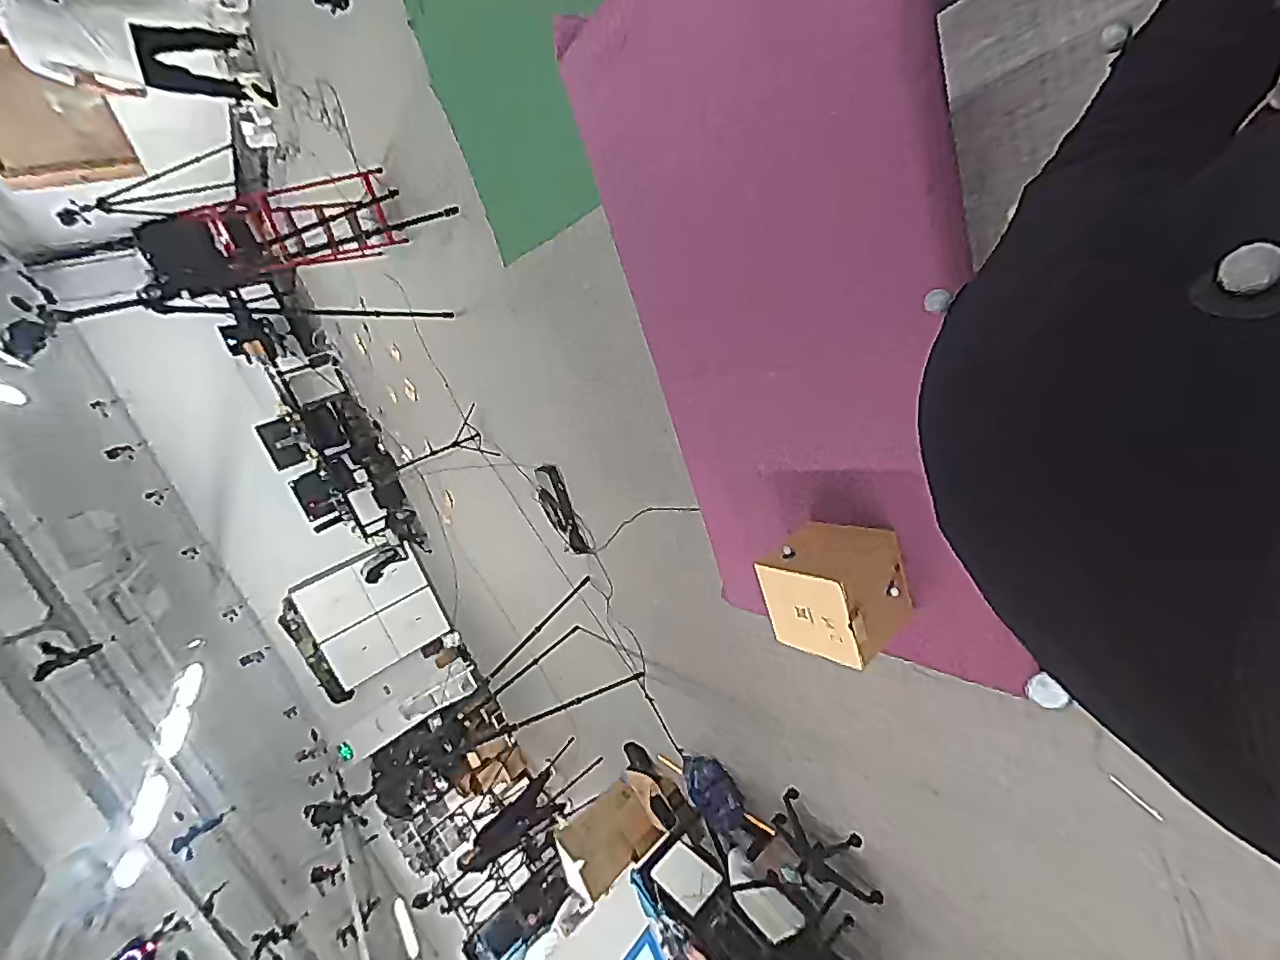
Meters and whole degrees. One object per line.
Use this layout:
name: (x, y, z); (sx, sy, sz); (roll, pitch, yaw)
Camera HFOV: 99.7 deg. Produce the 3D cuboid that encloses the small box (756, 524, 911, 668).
small box: (0.337, 0.189, 0.943); (0.179, 0.176, 0.168); (3, 117, 54)
